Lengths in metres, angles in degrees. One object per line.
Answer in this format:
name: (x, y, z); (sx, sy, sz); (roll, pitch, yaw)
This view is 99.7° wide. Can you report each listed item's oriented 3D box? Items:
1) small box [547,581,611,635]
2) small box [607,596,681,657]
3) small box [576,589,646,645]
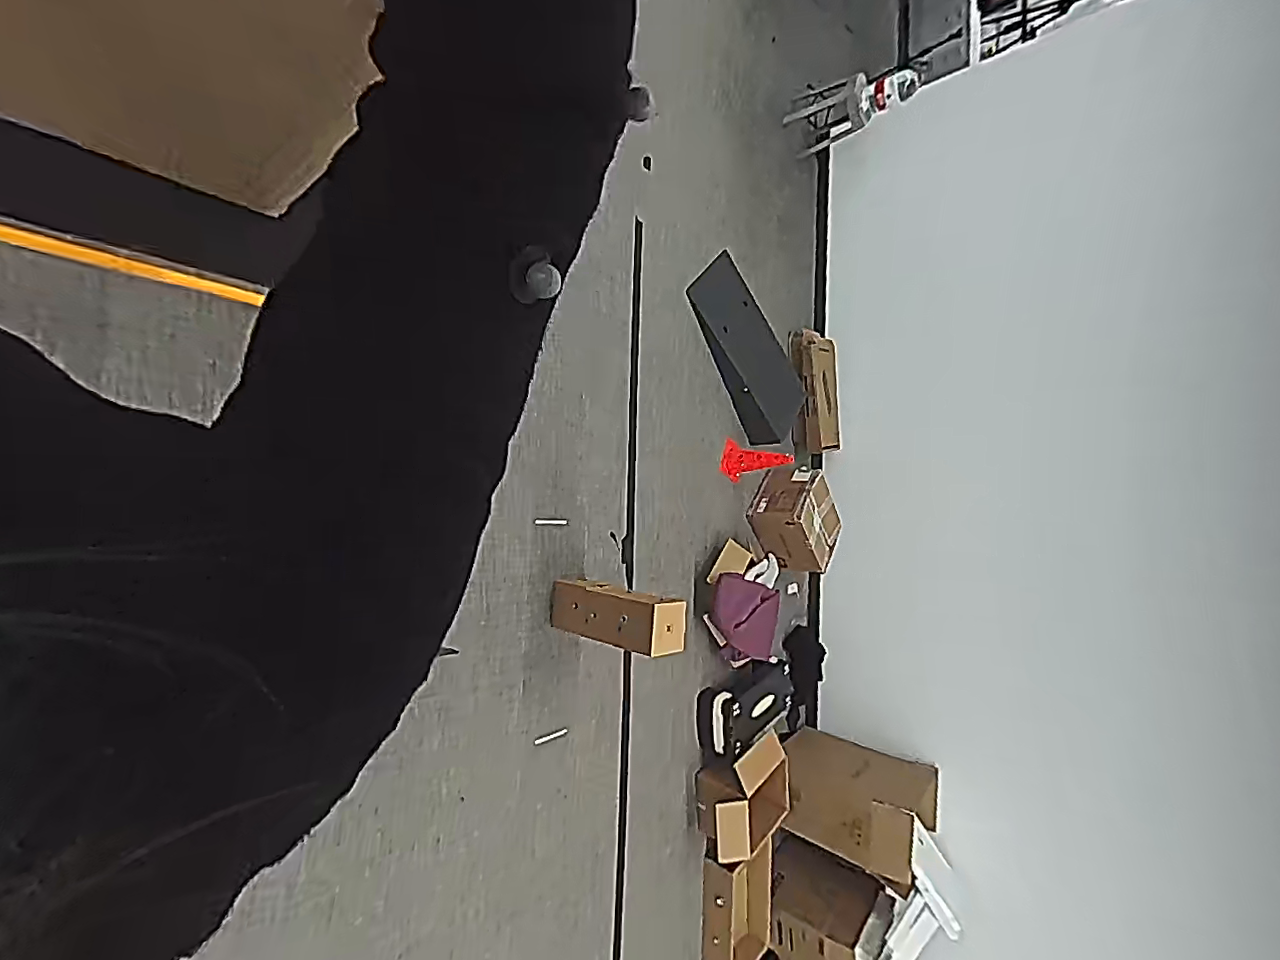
small box: (-0.230, 0.472, 2.021); (0.168, 0.176, 0.179); (10, 83, -49)
small box: (0.014, 0.481, 1.803); (0.179, 0.176, 0.168); (10, 82, -49)
small box: (-0.102, 0.480, 1.918); (0.179, 0.176, 0.168); (10, 83, -49)
